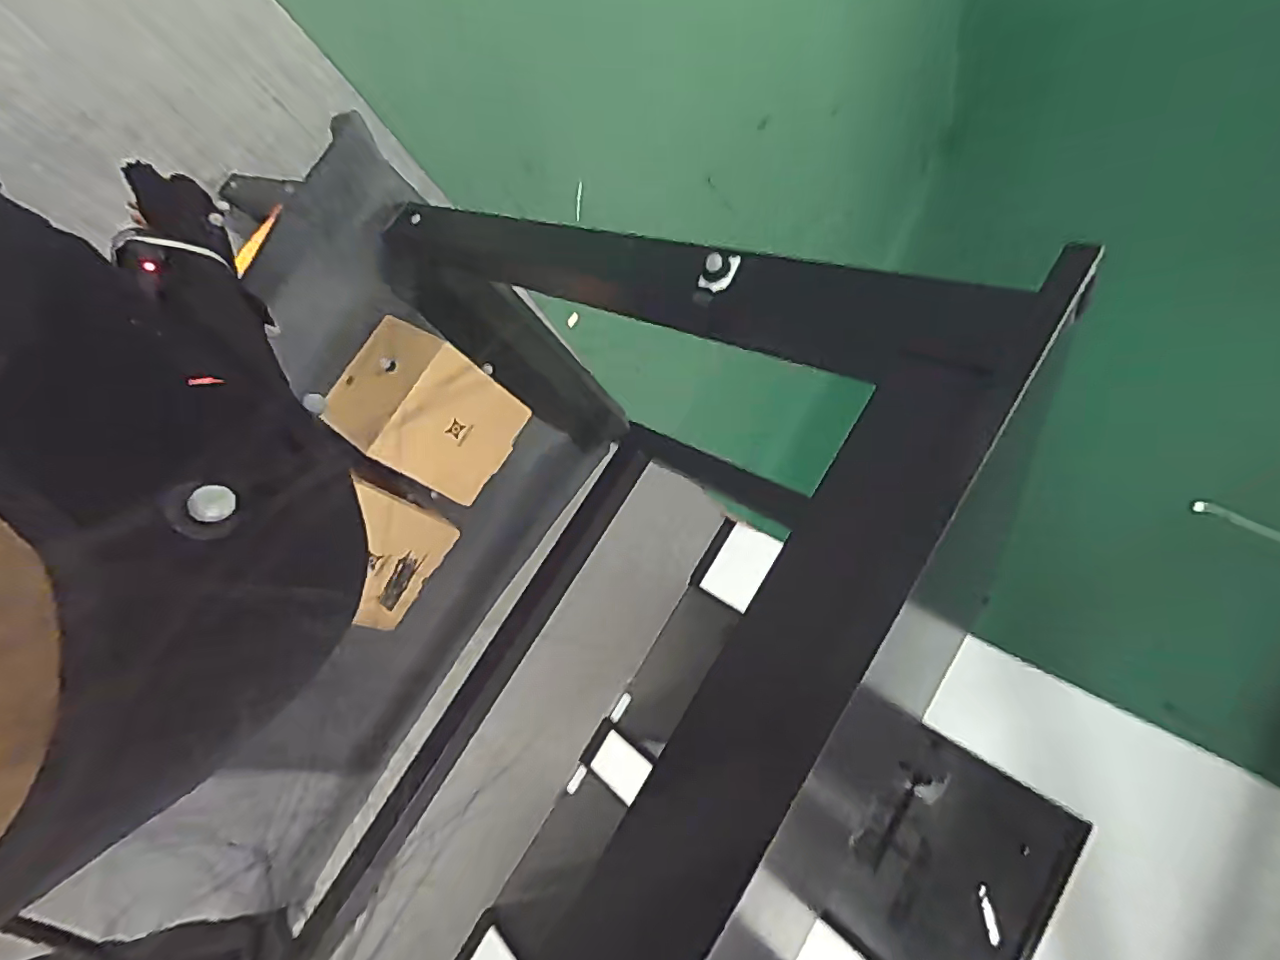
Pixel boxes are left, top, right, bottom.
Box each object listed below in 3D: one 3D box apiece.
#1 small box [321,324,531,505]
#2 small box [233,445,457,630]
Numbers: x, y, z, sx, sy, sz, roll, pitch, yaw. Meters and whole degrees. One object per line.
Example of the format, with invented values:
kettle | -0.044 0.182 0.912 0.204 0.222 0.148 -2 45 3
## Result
small box | -0.294 -0.094 0.746 0.168 0.176 0.179 -57 145 -7
small box | -0.394 0.075 0.730 0.168 0.176 0.179 -57 143 -9
